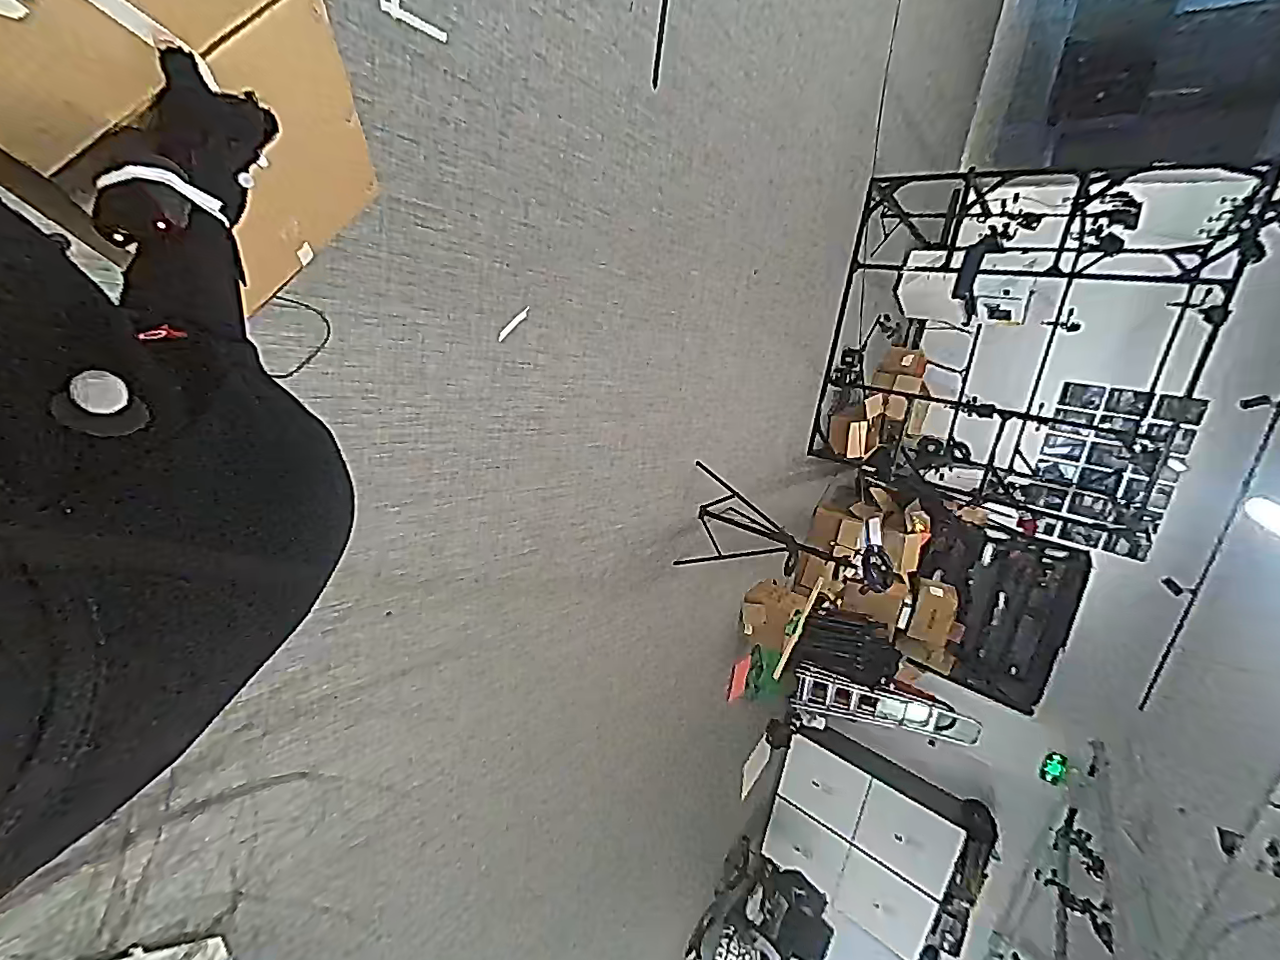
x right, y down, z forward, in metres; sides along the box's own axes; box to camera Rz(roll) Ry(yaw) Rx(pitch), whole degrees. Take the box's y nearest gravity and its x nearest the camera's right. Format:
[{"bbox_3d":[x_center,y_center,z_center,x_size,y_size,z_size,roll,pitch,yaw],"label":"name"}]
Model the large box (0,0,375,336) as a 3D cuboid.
[{"bbox_3d":[-0.595,-0.446,0.610,0.320,0.408,0.320,-57,-173,-15],"label":"large box"}]
